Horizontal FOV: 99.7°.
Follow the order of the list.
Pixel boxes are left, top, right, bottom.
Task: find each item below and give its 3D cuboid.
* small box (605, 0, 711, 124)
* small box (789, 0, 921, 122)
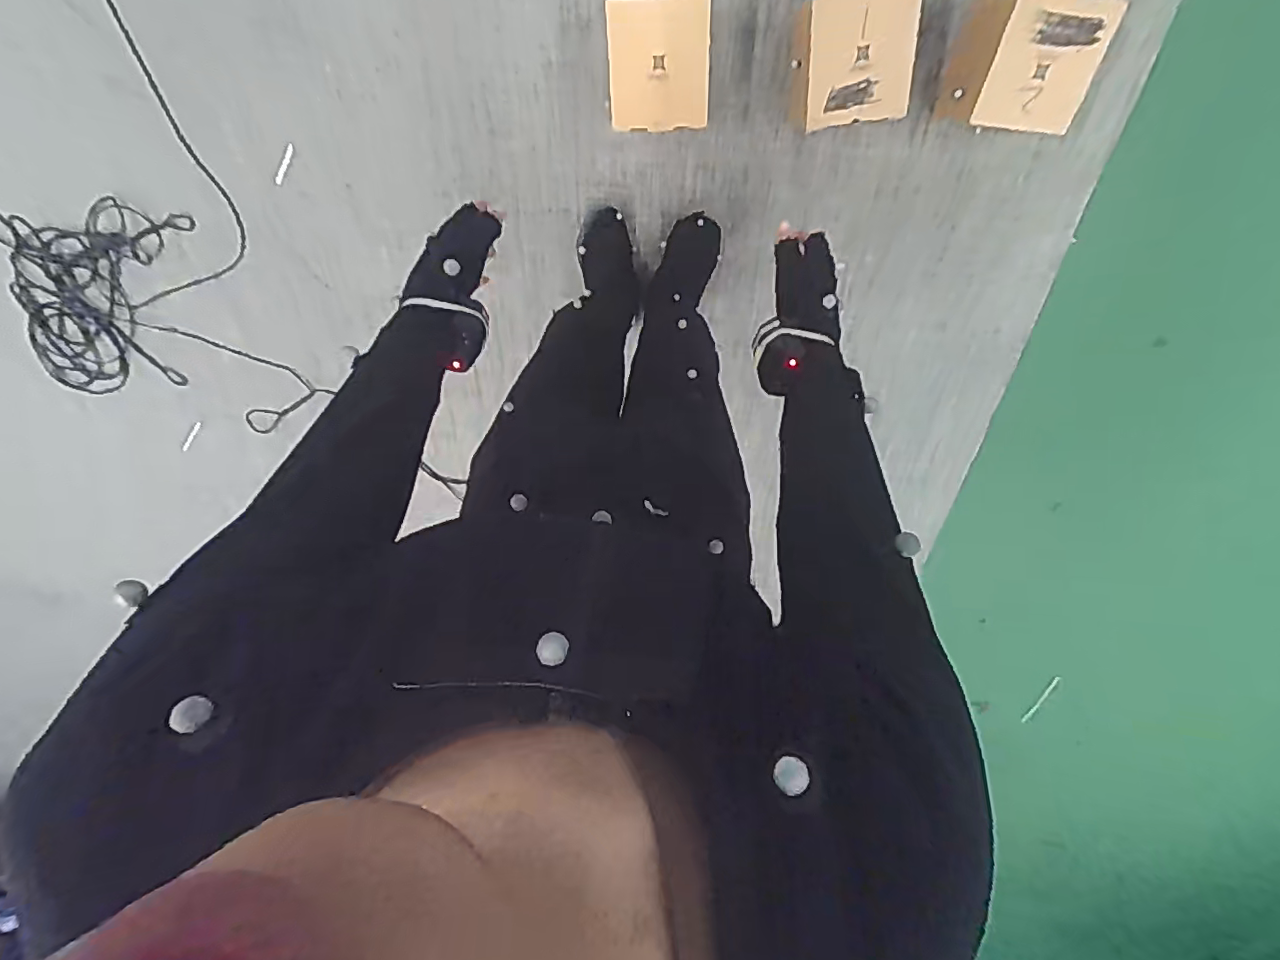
[{"bbox_3d":[0.034,-0.726,0.931,0.168,0.176,0.179,0,127,5],"label":"small box"},{"bbox_3d":[0.351,-0.722,0.910,0.168,0.176,0.179,-4,125,7],"label":"small box"}]
